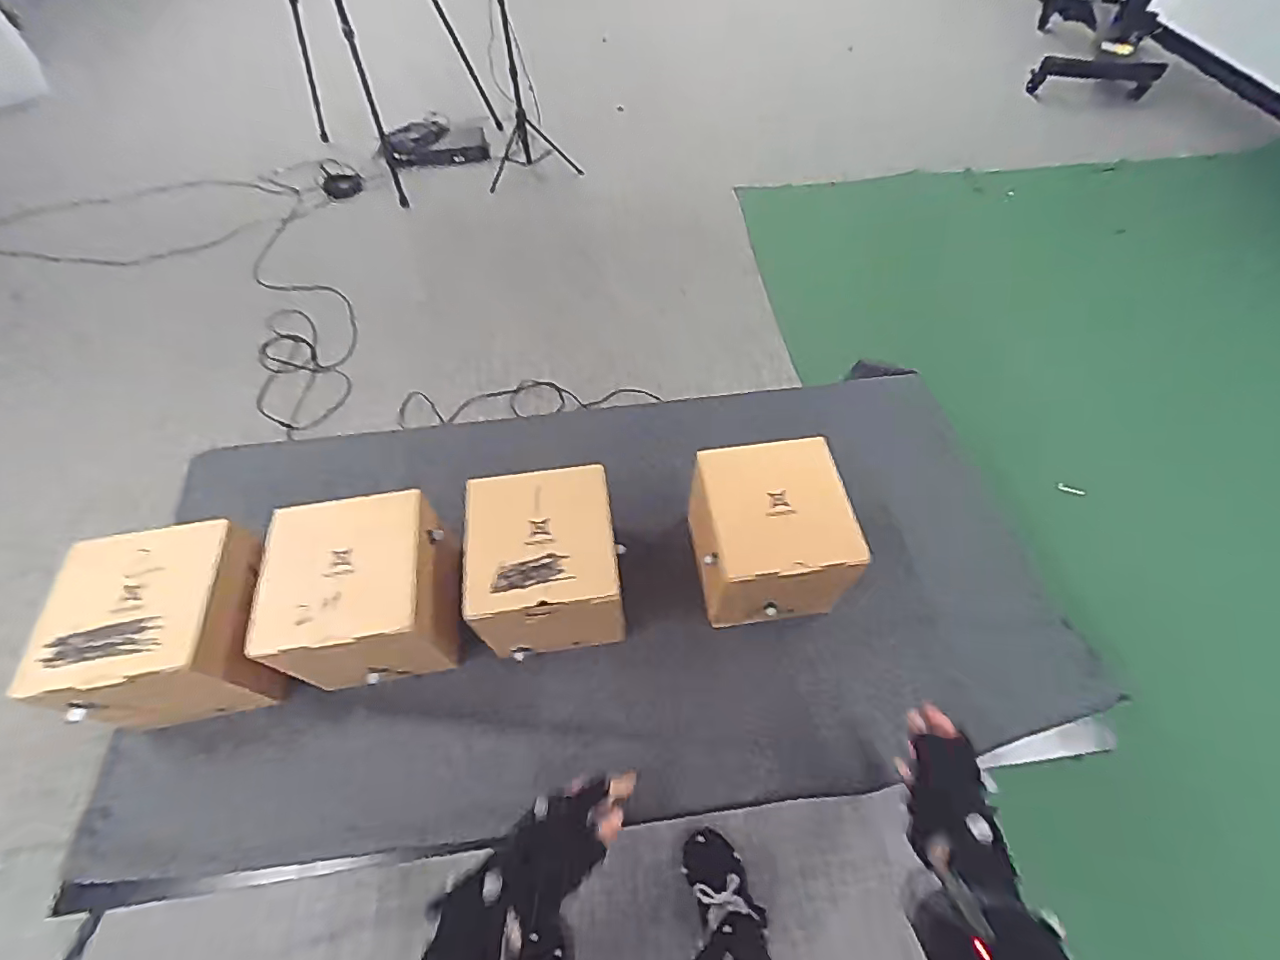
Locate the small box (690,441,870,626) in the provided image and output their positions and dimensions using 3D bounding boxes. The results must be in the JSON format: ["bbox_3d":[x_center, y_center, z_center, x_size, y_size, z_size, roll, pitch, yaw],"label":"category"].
[{"bbox_3d":[0.165,0.073,0.709,0.168,0.176,0.179,-7,58,-4],"label":"small box"}]
